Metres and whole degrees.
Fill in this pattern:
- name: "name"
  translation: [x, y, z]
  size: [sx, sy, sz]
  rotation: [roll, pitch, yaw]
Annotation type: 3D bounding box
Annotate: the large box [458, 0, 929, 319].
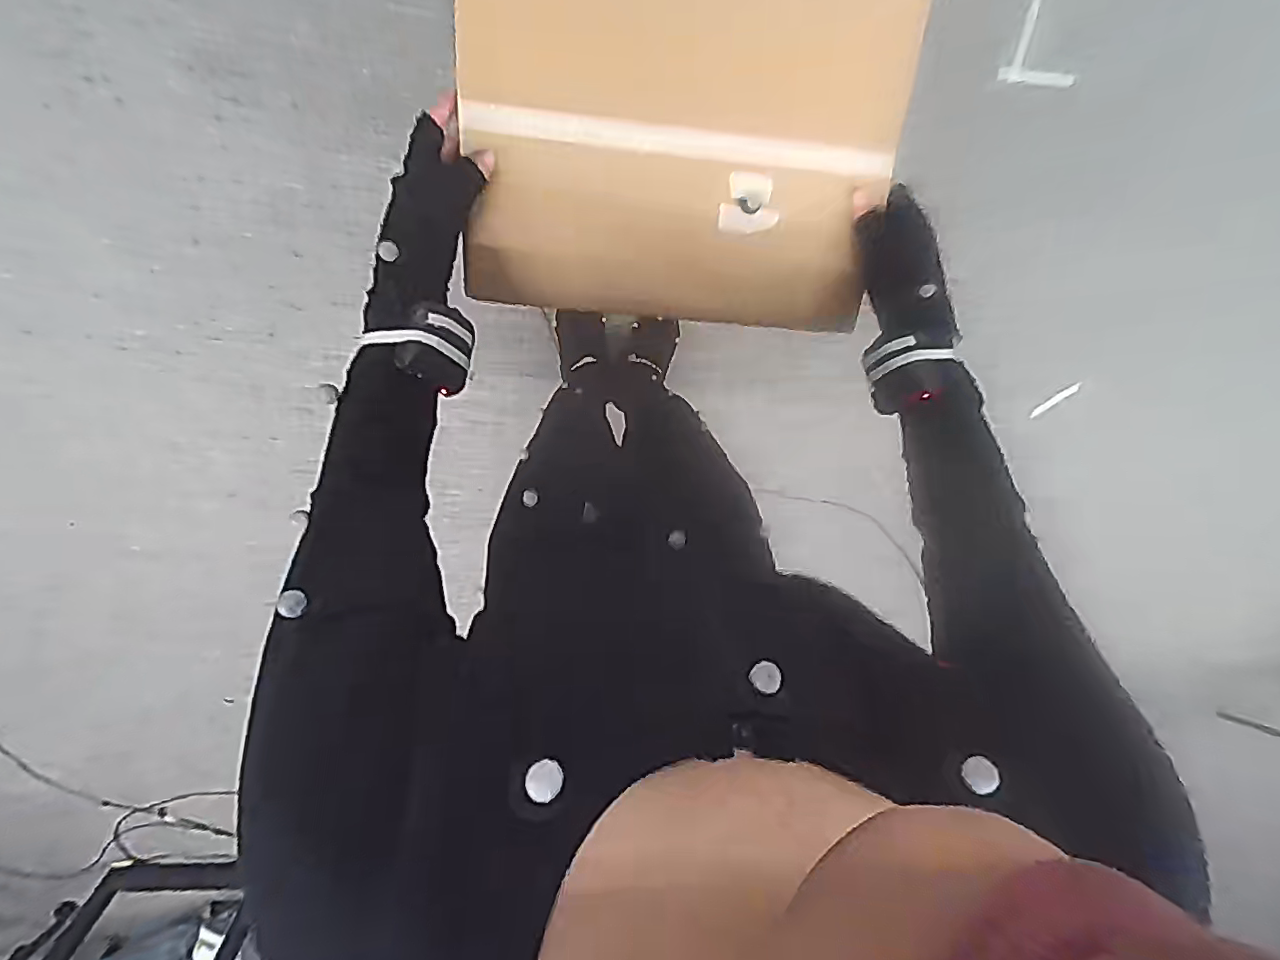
- name: "large box"
  translation: [0.028, -0.372, 0.624]
  size: [0.408, 0.320, 0.320]
  rotation: [2, 113, -7]
